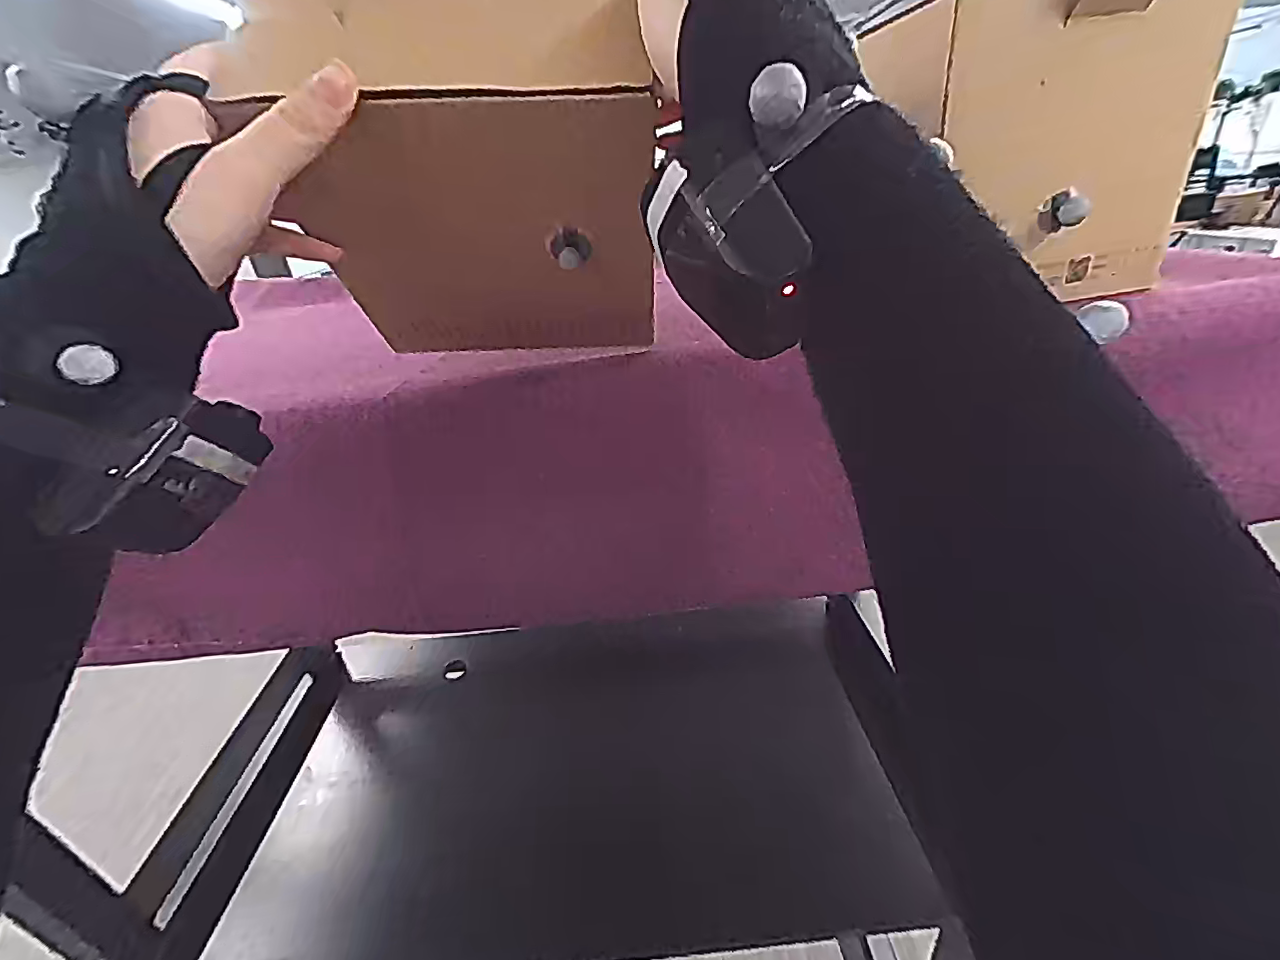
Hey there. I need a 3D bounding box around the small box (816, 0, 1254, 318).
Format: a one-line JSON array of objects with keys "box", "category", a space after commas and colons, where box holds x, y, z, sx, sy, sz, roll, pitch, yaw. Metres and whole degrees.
[{"box": [0.235, -0.217, 0.378, 0.168, 0.176, 0.179, -10, 28, -5], "category": "small box"}]

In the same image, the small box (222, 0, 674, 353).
[{"box": [-0.074, -0.187, 0.310, 0.179, 0.176, 0.168, -1, 67, 1], "category": "small box"}]
